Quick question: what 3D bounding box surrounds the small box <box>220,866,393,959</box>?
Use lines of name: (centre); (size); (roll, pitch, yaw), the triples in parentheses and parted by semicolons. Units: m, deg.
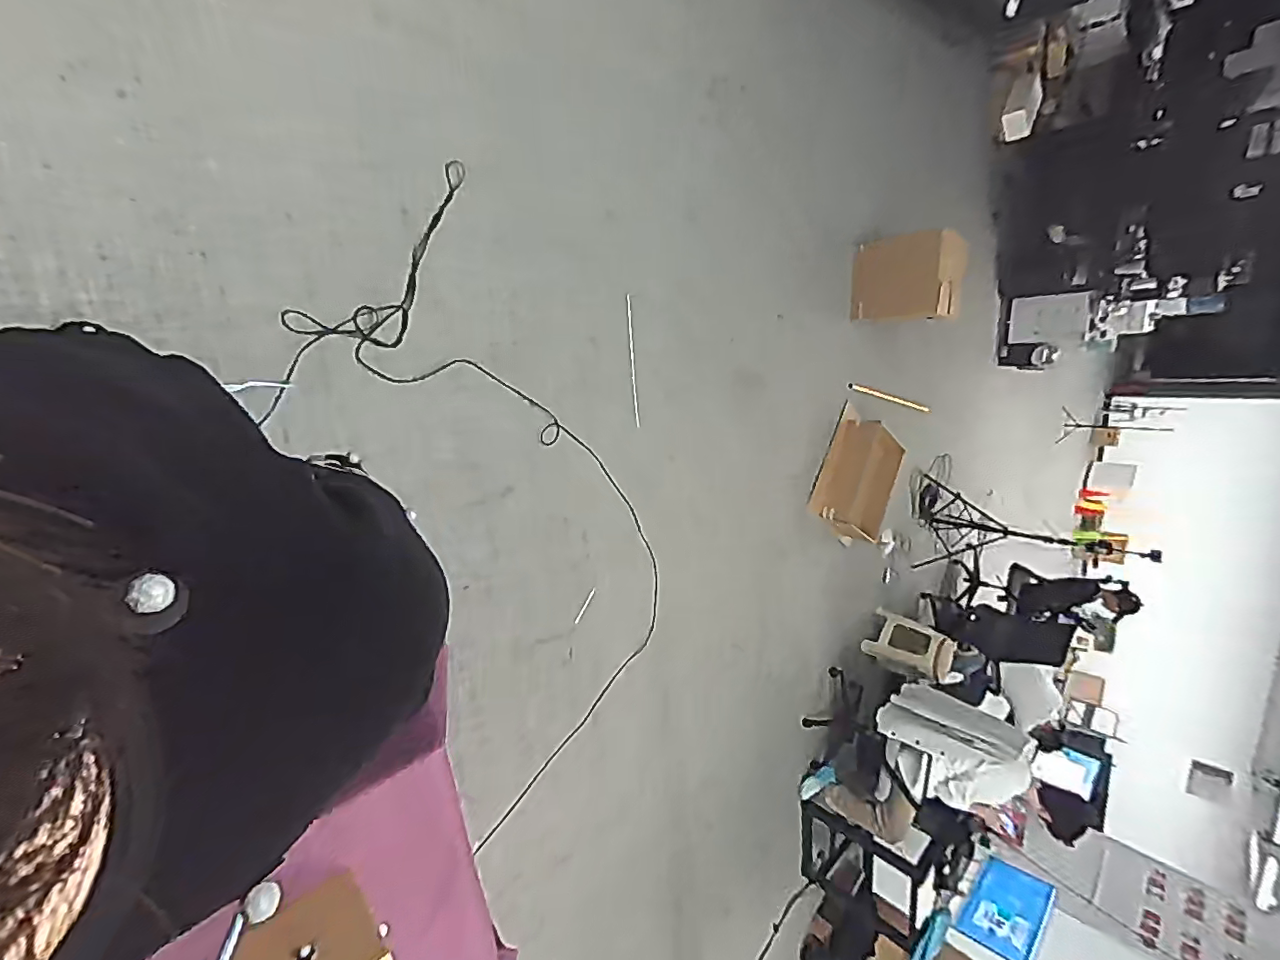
small box: (-0.433, 0.674, 0.710); (0.179, 0.176, 0.168); (-17, 110, -41)
